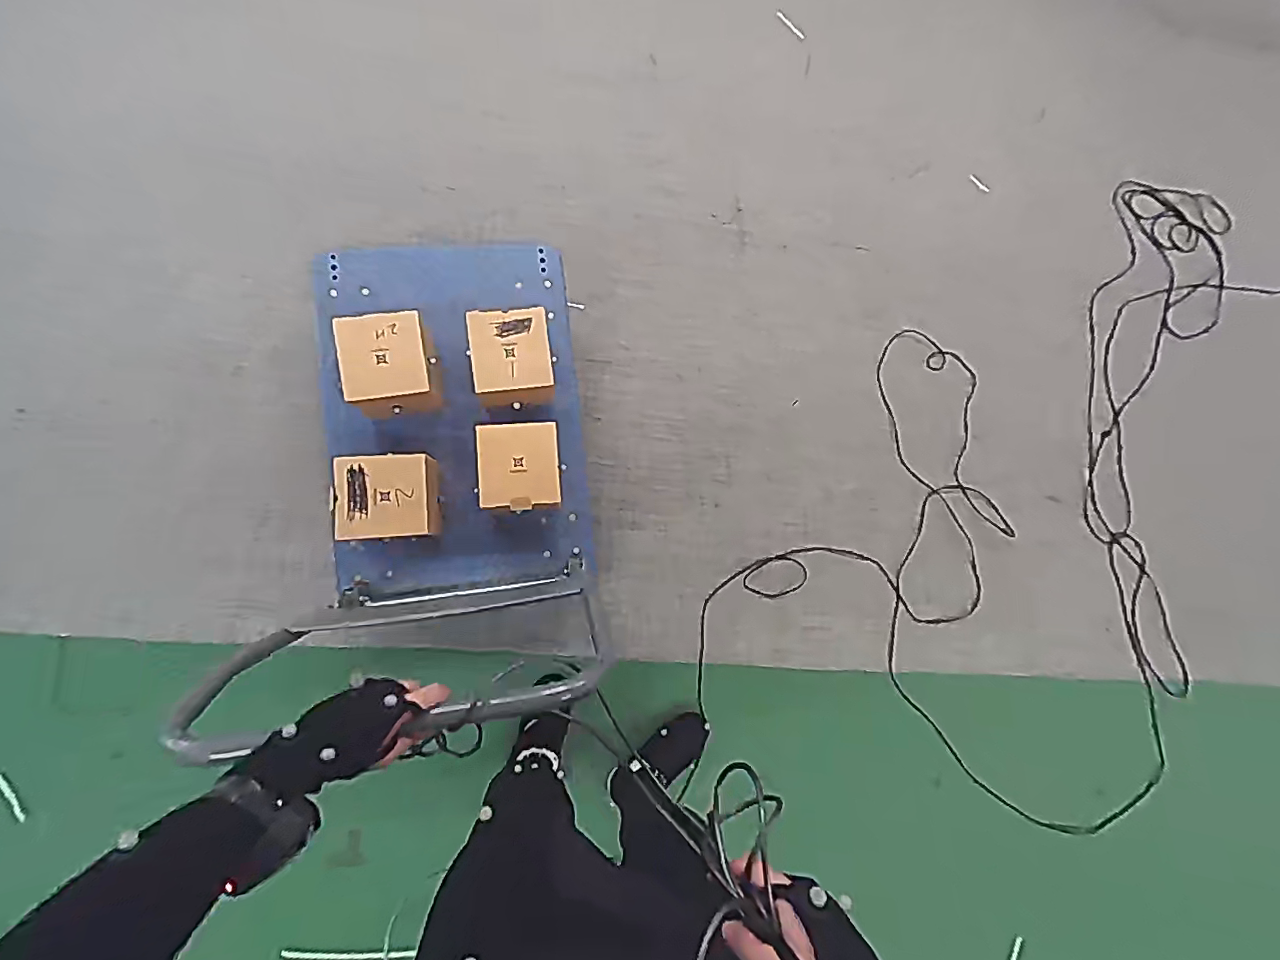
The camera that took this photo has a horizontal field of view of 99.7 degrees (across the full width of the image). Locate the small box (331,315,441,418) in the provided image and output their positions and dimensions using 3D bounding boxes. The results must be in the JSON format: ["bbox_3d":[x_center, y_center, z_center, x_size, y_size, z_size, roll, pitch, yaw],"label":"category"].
[{"bbox_3d":[-0.541,-0.237,1.172,0.168,0.176,0.179,-10,87,-10],"label":"small box"}]

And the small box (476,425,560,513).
[{"bbox_3d":[-0.268,-0.019,1.201,0.168,0.176,0.179,-4,88,-9],"label":"small box"}]

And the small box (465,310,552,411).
[{"bbox_3d":[-0.290,-0.262,1.214,0.168,0.176,0.179,-8,88,-9],"label":"small box"}]
